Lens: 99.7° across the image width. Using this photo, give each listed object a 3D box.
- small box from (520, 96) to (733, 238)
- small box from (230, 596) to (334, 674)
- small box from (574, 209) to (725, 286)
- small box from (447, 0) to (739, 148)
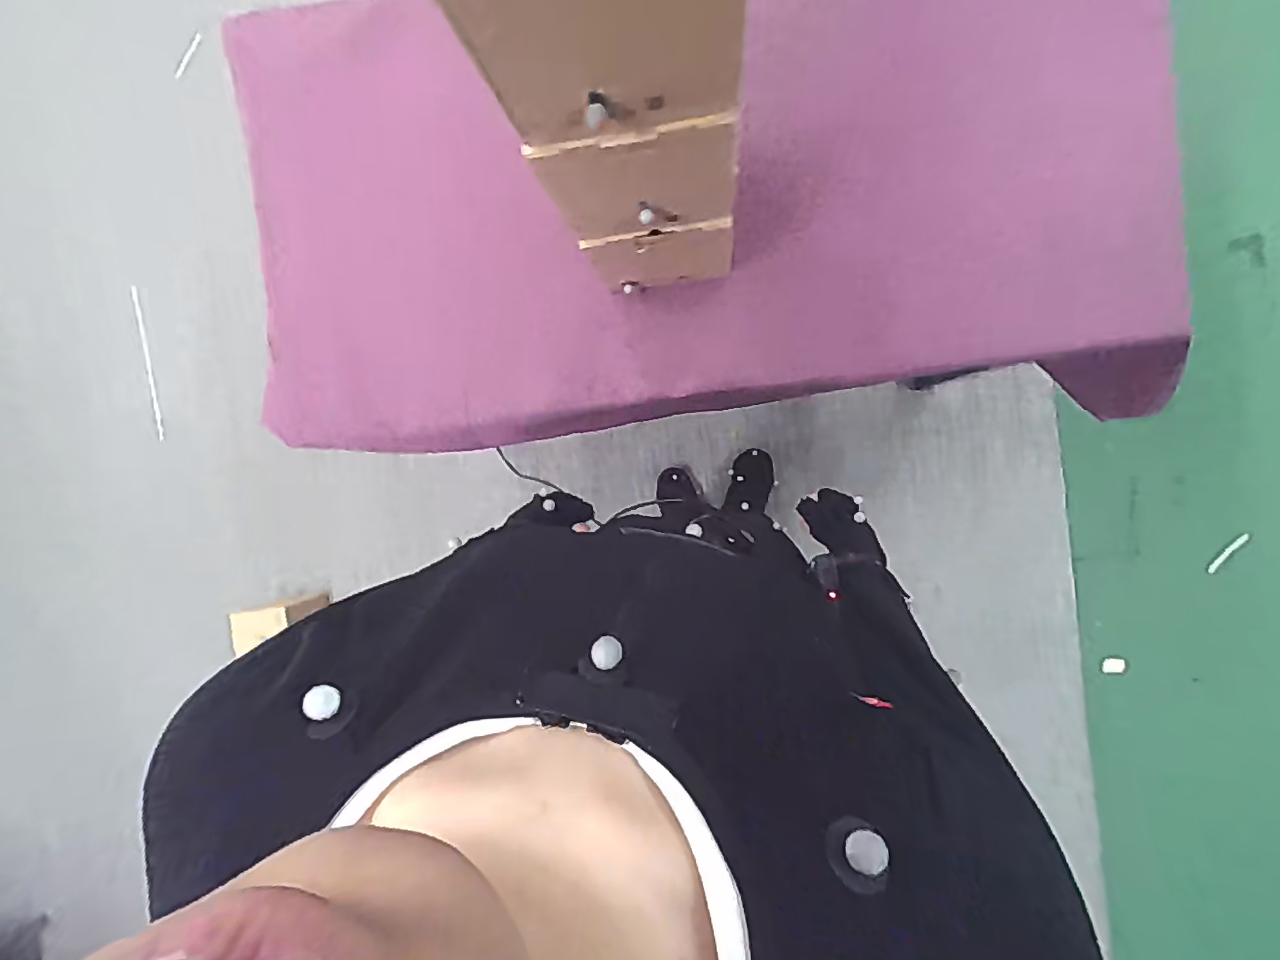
[{"bbox_3d":[-0.009,-0.348,0.489,0.168,0.176,0.179,-5,92,8],"label":"small box"},{"bbox_3d":[-1.027,0.442,1.559,0.179,0.176,0.168,-8,92,8],"label":"small box"},{"bbox_3d":[0.015,-0.347,0.651,0.168,0.176,0.179,-5,91,8],"label":"small box"},{"bbox_3d":[-0.030,-0.345,0.327,0.168,0.176,0.179,-6,92,8],"label":"small box"}]
